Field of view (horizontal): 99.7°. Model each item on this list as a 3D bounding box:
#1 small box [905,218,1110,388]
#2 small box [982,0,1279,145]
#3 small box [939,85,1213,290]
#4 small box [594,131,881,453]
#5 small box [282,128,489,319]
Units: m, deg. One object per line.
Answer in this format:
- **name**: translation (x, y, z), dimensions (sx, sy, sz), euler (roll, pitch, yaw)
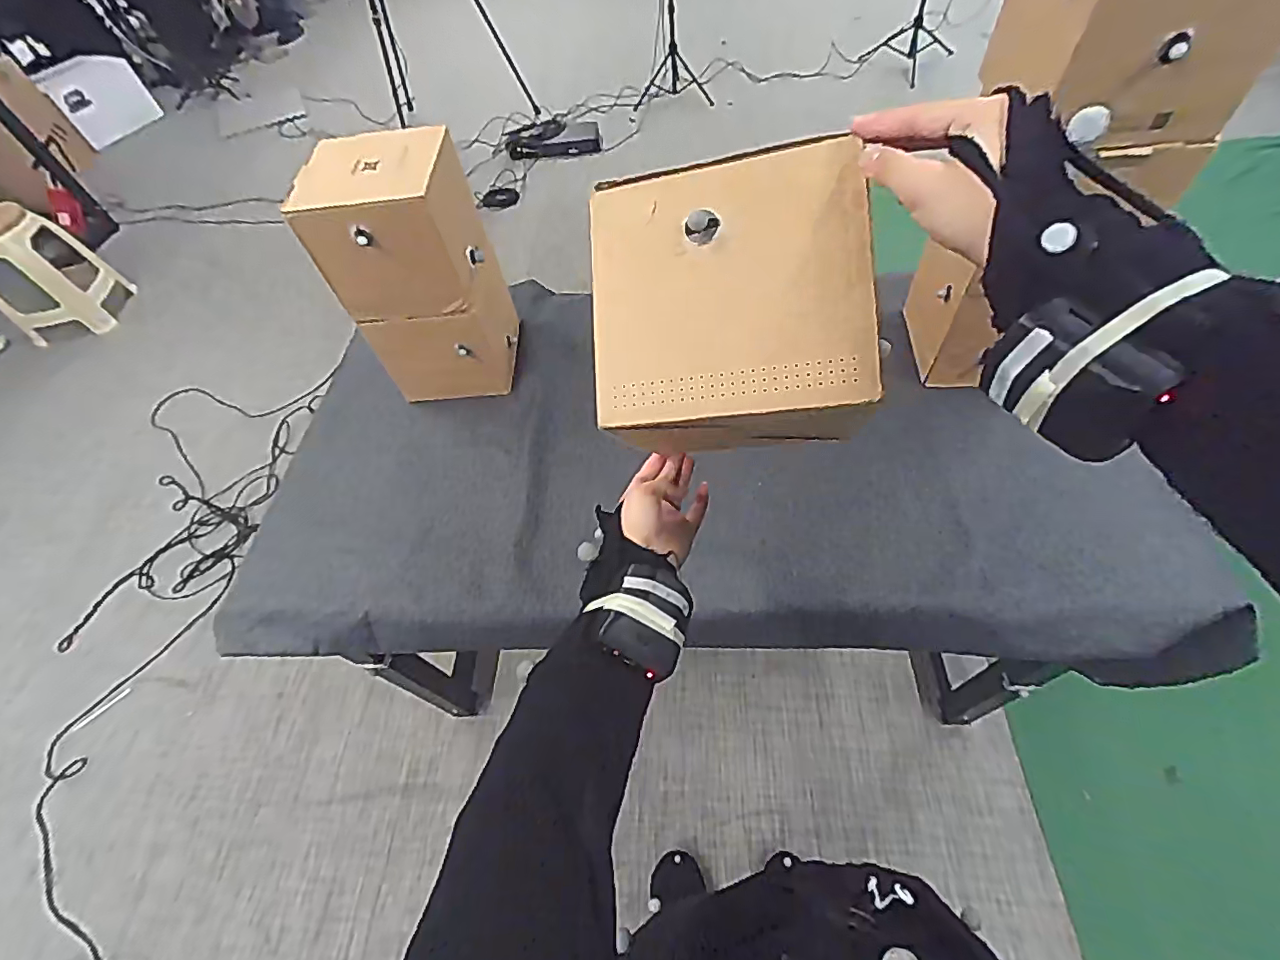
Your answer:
- **small box**: translation (0.495, -0.252, 0.765), dimensions (0.168, 0.176, 0.179), euler (0, 57, 8)
- **small box**: translation (0.449, -0.428, 0.490), dimensions (0.168, 0.176, 0.179), euler (0, 57, 7)
- **small box**: translation (0.474, -0.338, 0.627), dimensions (0.168, 0.176, 0.179), euler (1, 58, 8)
- **small box**: translation (0.076, -0.113, 0.412), dimensions (0.179, 0.168, 0.176), euler (-3, 85, 17)
- **small box**: translation (-0.322, -0.335, 0.725), dimensions (0.179, 0.176, 0.168), euler (-4, 58, 3)
